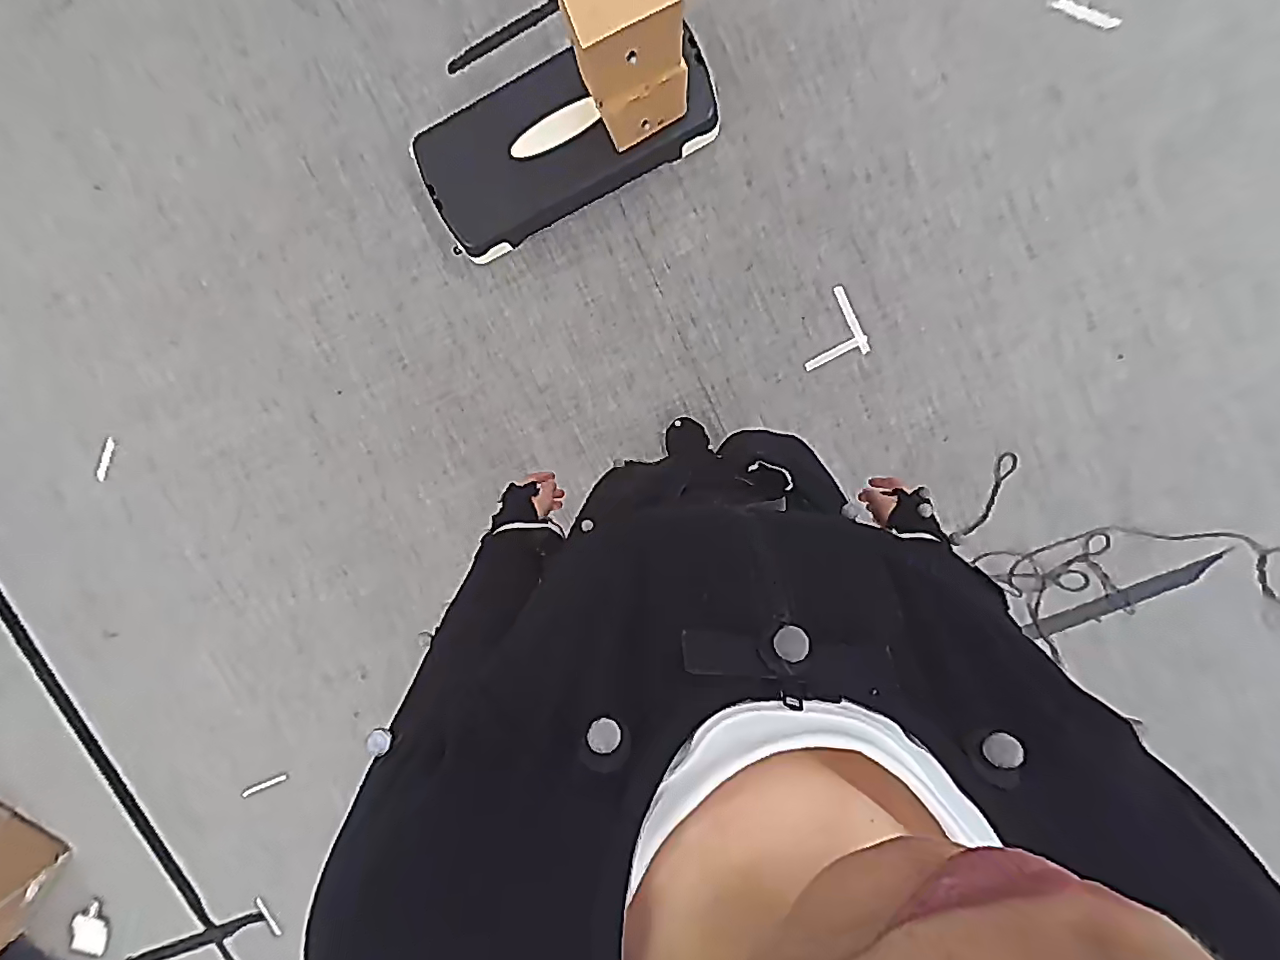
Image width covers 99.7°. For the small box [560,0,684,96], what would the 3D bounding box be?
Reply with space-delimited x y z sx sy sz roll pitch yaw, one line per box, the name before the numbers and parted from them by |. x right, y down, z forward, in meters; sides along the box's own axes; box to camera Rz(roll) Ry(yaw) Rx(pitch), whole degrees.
small box | -0.037 -0.802 0.910 0.179 0.176 0.168 -21 98 7

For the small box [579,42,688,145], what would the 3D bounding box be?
small box | -0.018 -0.818 1.074 0.168 0.176 0.179 -27 98 7
